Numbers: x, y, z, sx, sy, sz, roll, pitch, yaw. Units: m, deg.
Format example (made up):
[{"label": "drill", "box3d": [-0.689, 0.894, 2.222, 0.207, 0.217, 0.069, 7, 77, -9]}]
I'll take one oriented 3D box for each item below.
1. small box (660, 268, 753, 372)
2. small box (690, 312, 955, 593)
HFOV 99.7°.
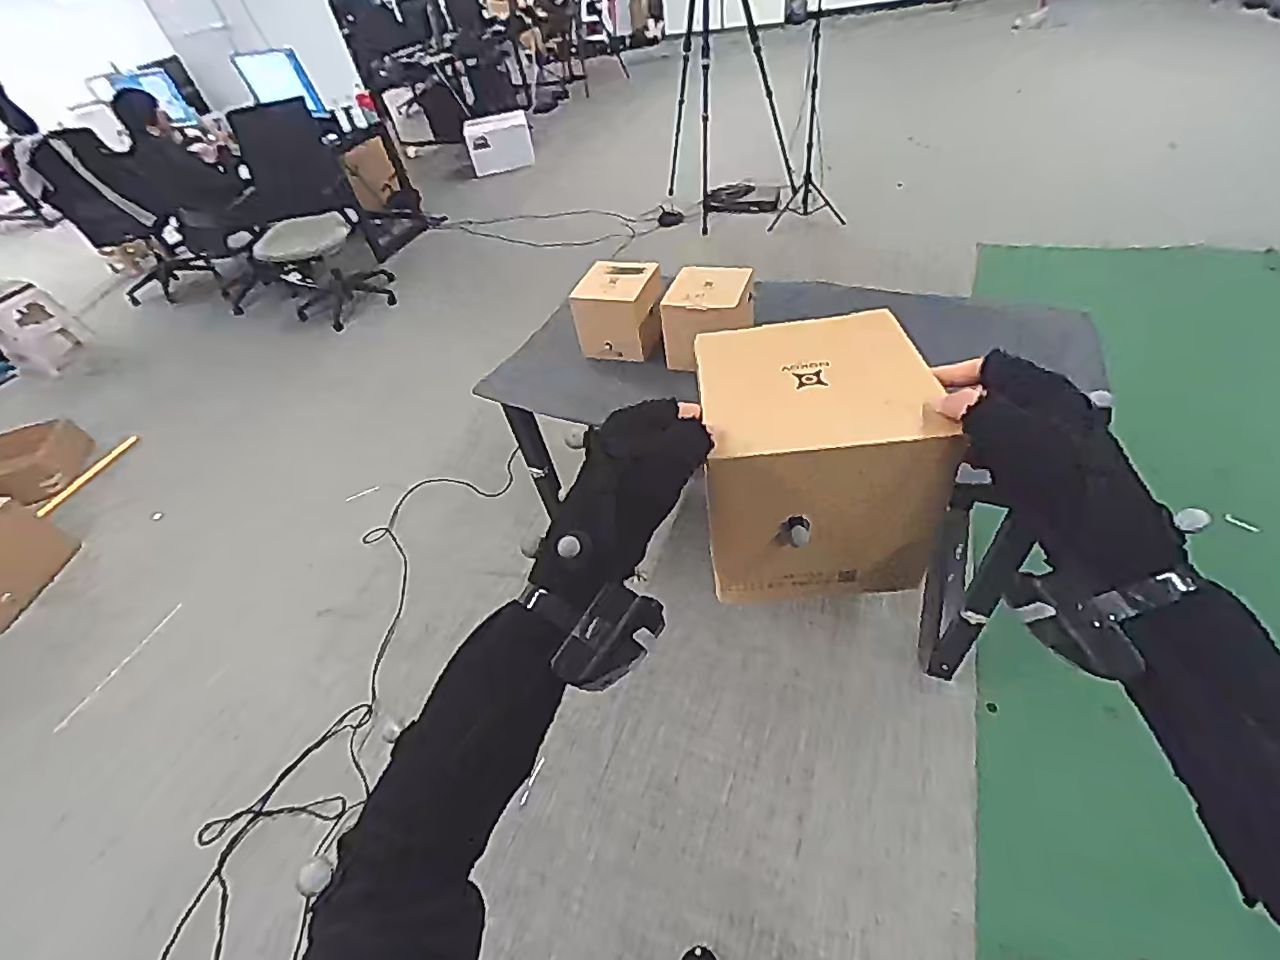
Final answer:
[{"label": "small box", "box3d": [0.156, -0.361, 1.232, 0.168, 0.176, 0.179, 10, 50, 20]}, {"label": "small box", "box3d": [0.134, -0.017, 0.460, 0.168, 0.176, 0.179, -5, 41, 7]}]
